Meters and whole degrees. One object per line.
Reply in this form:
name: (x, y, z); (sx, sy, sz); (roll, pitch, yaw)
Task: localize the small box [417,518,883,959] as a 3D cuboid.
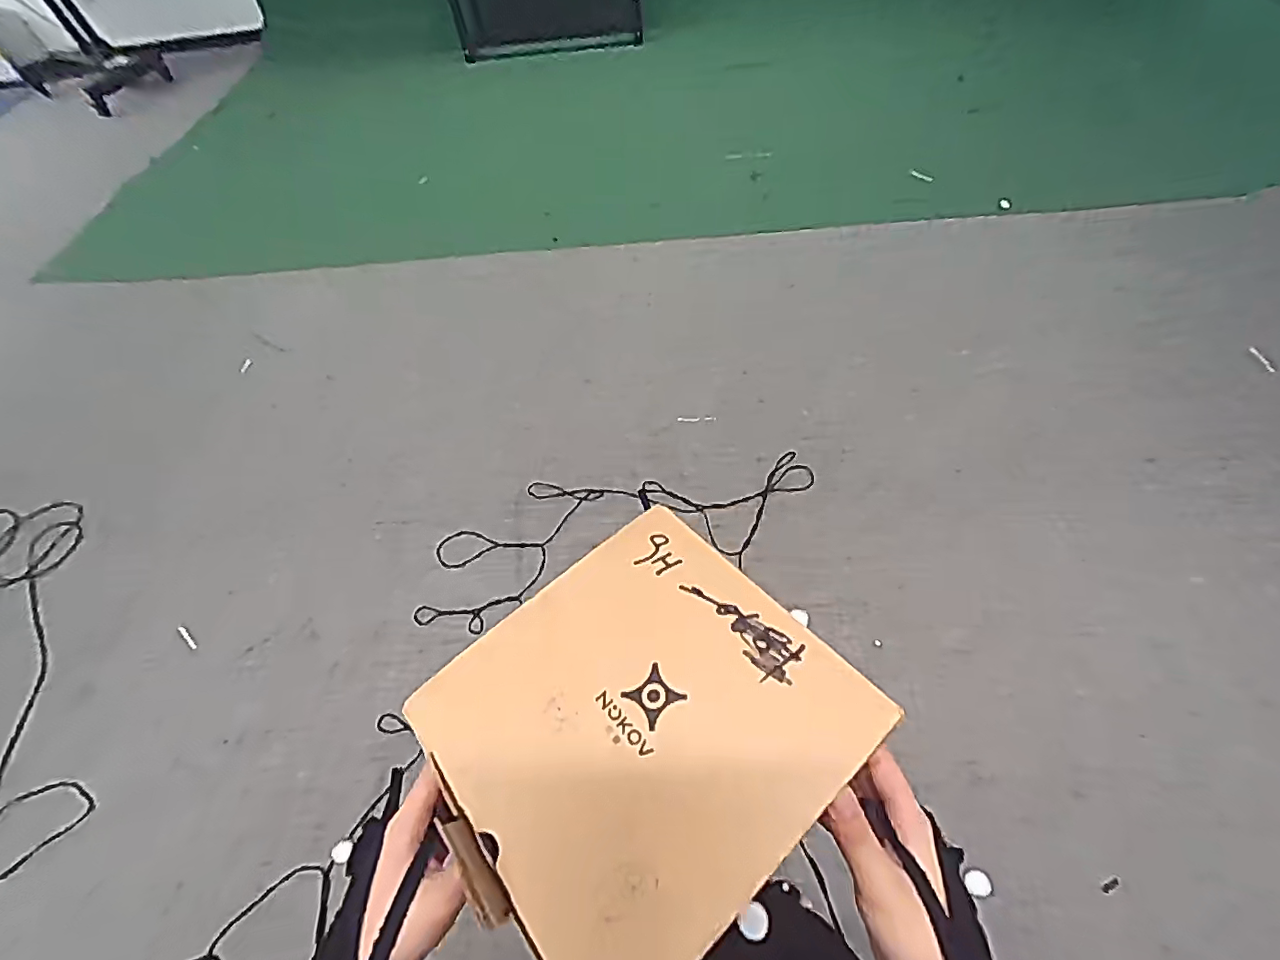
small box: (0.009, 0.164, 0.326); (0.179, 0.176, 0.168); (-37, 56, -20)
